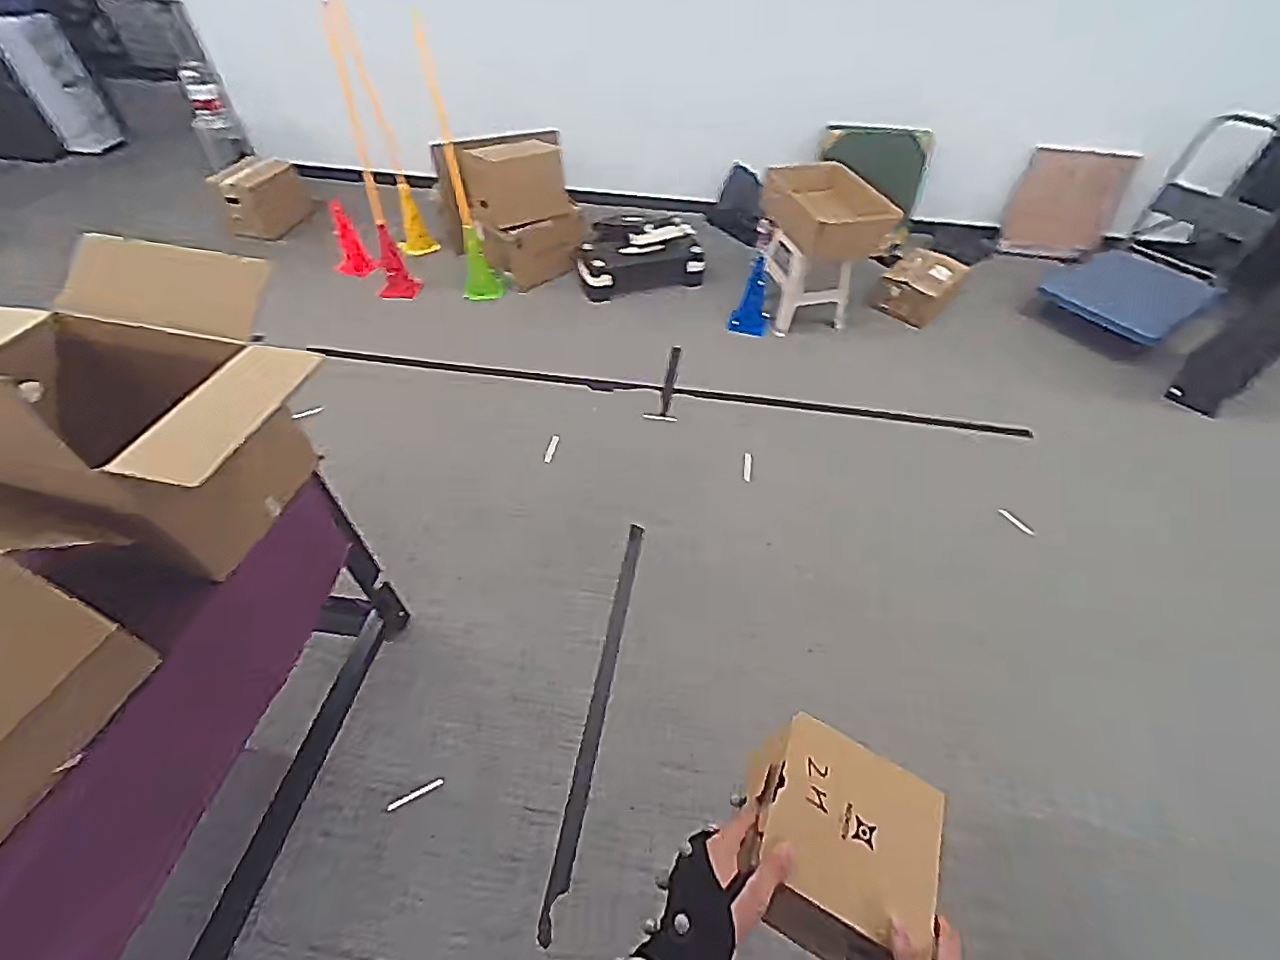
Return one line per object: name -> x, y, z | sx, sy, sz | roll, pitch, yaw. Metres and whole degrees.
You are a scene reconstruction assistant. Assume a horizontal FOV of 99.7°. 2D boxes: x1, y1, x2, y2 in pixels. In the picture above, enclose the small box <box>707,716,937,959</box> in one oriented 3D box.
small box -> 0.198, 0.407, 0.610 | 0.179, 0.176, 0.168 | 26, 48, 11
